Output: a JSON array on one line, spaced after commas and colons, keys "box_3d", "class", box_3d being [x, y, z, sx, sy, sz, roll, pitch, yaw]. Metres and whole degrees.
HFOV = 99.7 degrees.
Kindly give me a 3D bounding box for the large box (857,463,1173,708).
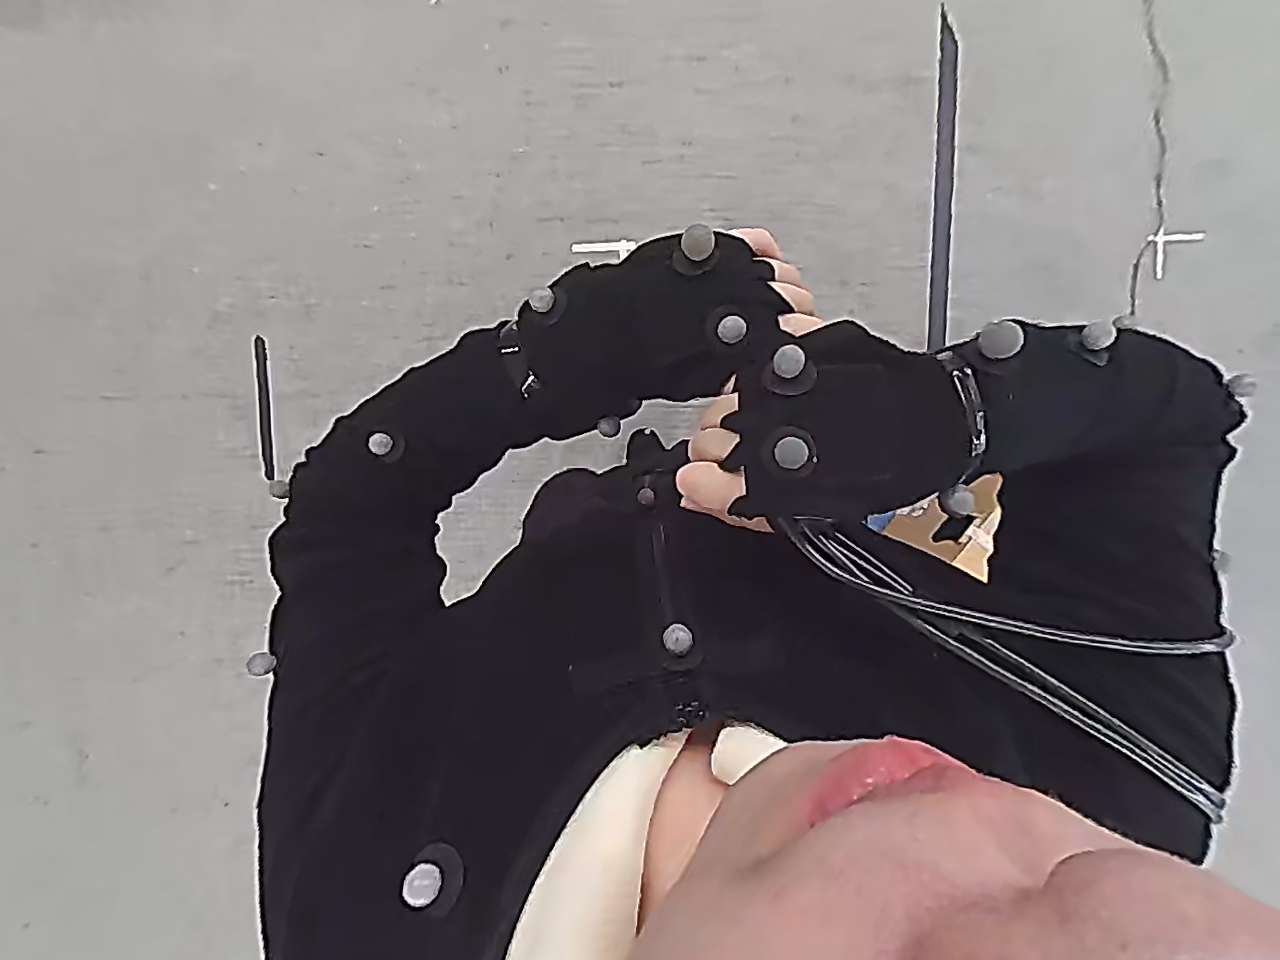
[{"box_3d": [0.777, 0.199, 1.185, 0.408, 0.320, 0.320, 38, 93, -3], "class": "large box"}]
